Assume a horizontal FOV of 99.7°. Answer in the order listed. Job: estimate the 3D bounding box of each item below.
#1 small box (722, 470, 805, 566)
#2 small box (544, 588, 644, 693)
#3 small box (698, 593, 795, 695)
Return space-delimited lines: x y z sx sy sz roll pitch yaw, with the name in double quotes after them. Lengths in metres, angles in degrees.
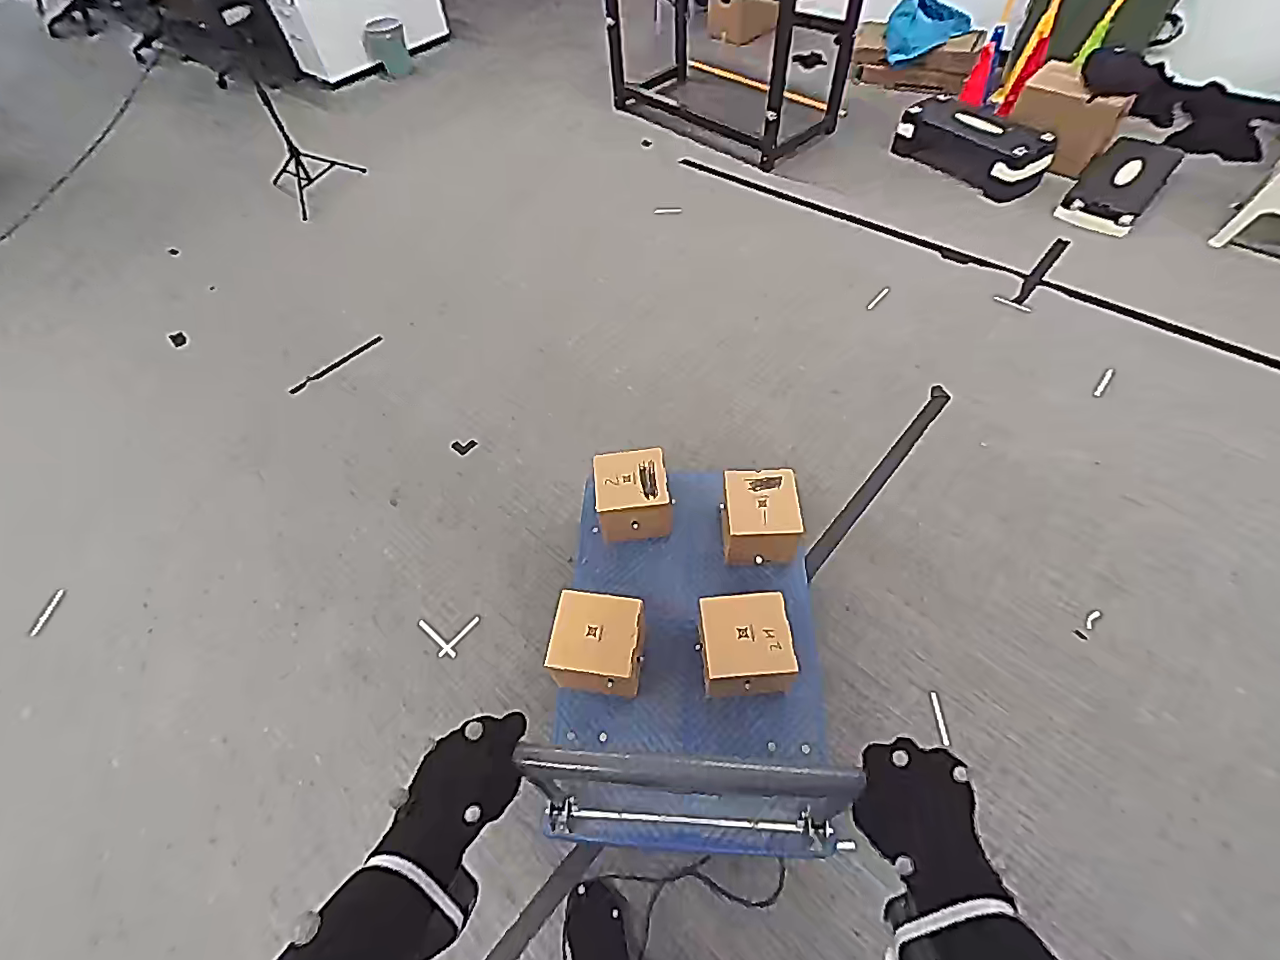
0.291 0.093 1.314 0.168 0.176 0.179 -1 57 4 "small box"
-0.090 0.351 1.173 0.179 0.176 0.168 7 57 7 "small box"
0.216 0.352 1.147 0.179 0.176 0.168 -4 57 2 "small box"
